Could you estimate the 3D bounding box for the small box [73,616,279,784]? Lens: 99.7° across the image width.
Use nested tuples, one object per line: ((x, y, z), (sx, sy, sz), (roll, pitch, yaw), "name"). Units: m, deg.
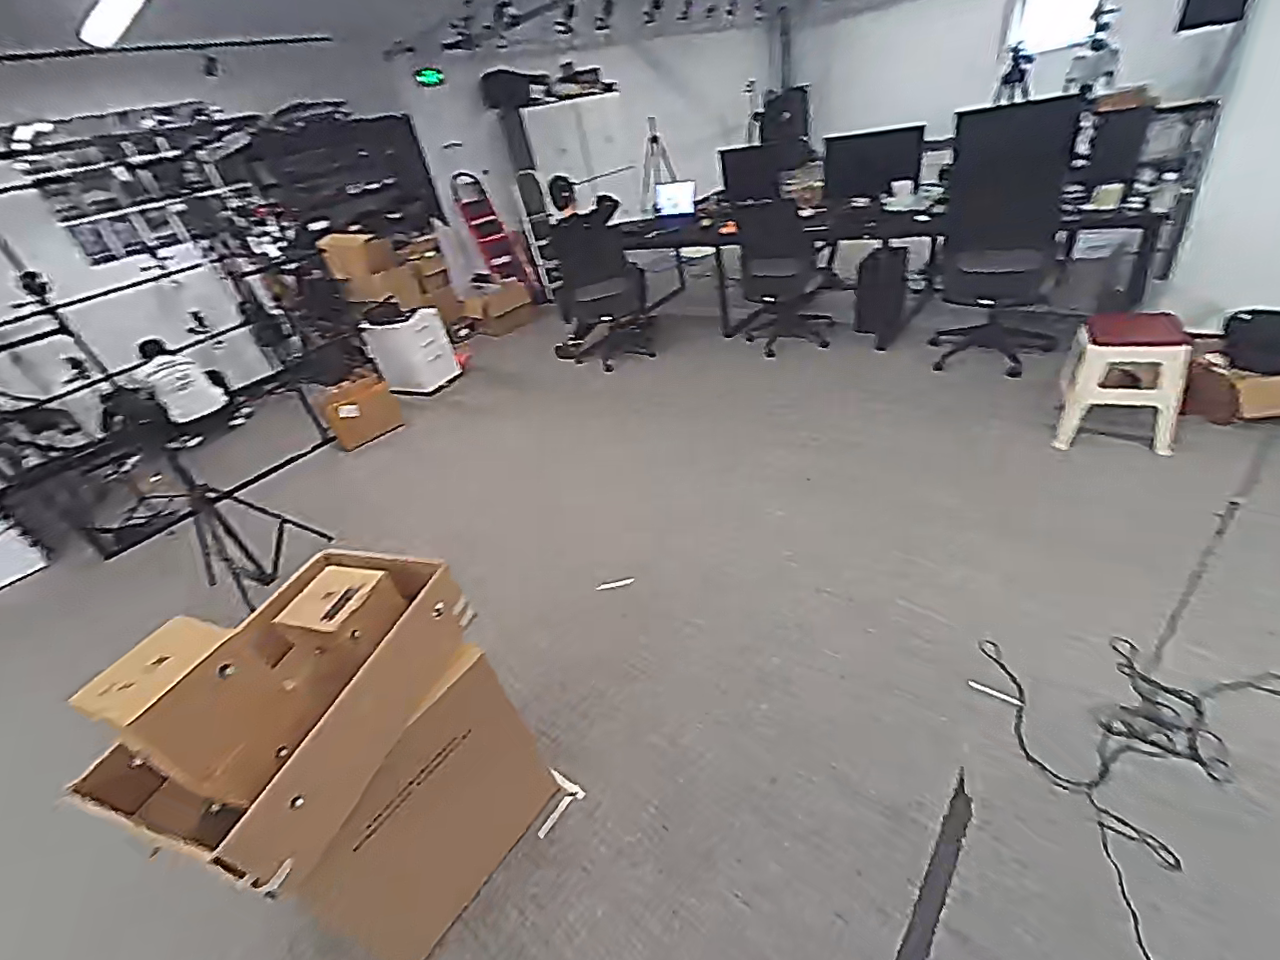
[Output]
((-0.747, 0.360, 0.898), (0.168, 0.176, 0.179), (4, 38, 23), "small box")
